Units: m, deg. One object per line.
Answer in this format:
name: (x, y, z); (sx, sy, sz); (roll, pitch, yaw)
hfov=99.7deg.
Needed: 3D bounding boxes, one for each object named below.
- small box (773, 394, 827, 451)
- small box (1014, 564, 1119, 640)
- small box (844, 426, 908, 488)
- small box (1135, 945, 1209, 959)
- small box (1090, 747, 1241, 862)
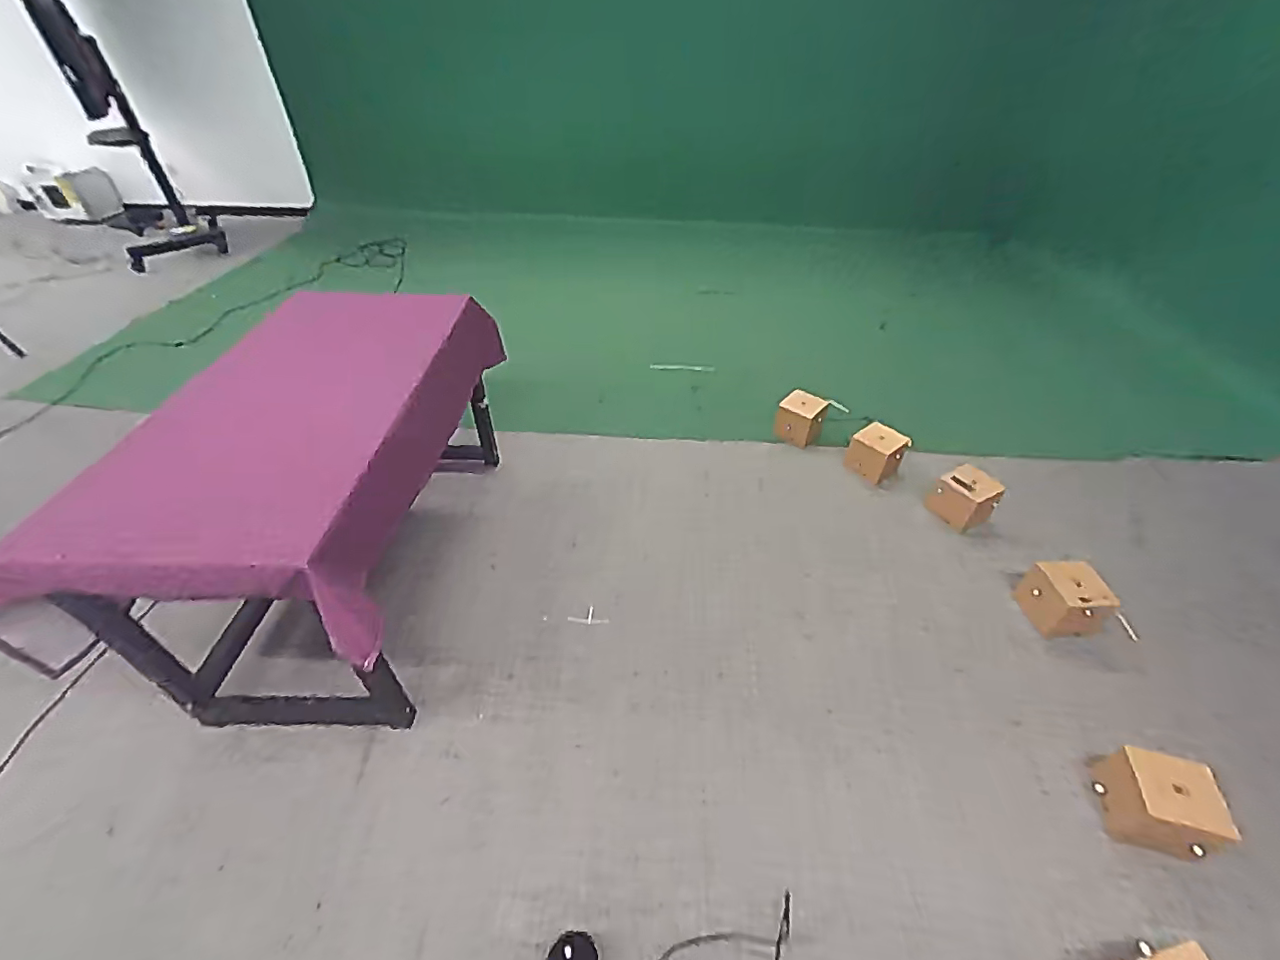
small box: (0.728, -0.260, 2.477); (0.168, 0.176, 0.179); (31, 49, 29)
small box: (1.353, 0.391, 1.732); (0.168, 0.176, 0.179); (-2, 40, -2)
small box: (0.996, -0.096, 2.295); (0.179, 0.176, 0.168); (-28, 49, -29)
small box: (0.999, 1.012, 1.012); (0.179, 0.176, 0.168); (-10, 42, -11)
small box: (1.234, 0.776, 1.288); (0.179, 0.176, 0.168); (12, 42, 13)
